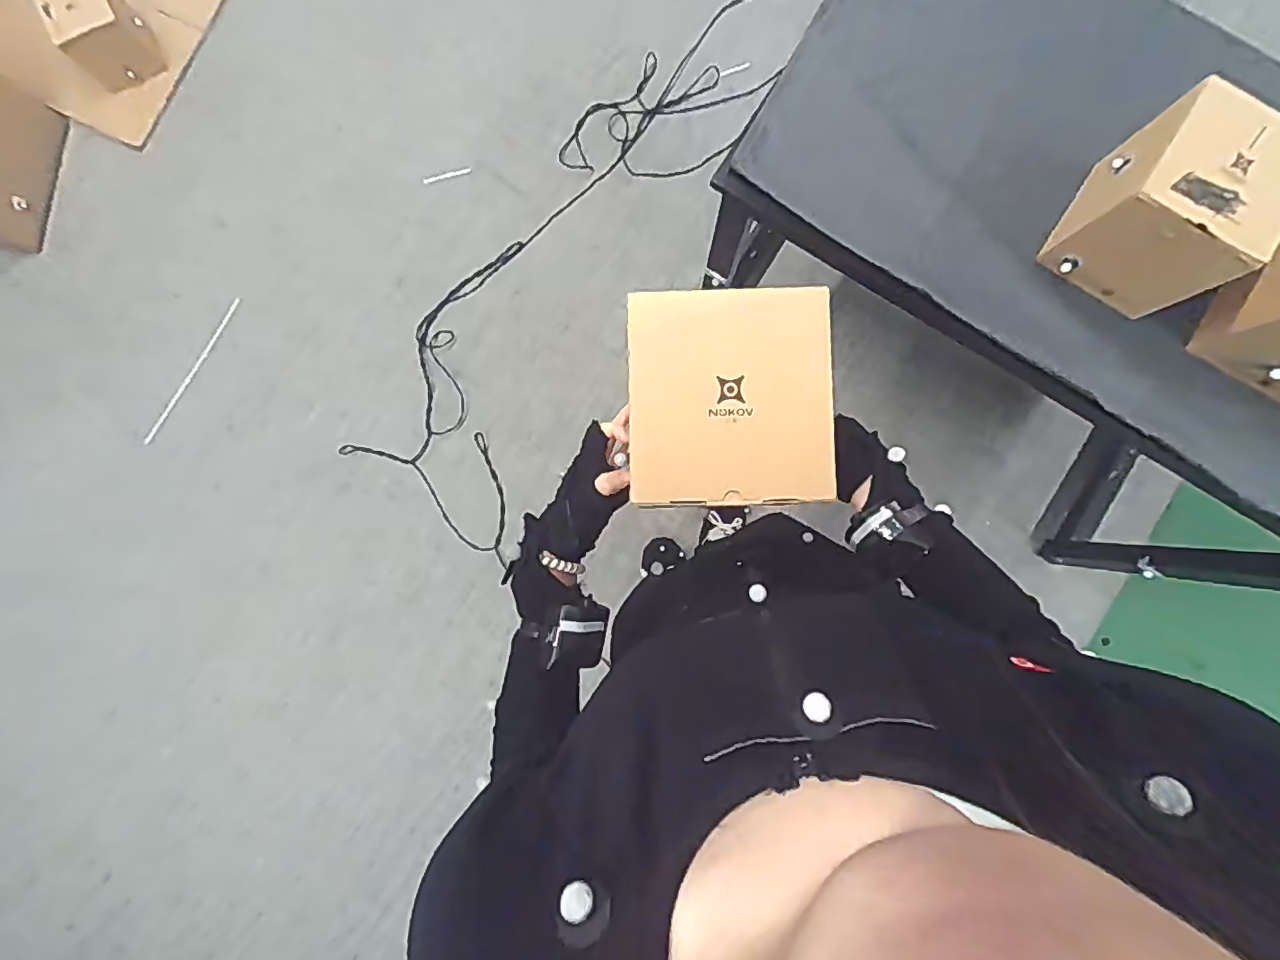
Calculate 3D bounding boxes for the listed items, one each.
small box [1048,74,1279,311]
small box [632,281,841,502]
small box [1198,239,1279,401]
[{"bbox_3d":[0.685,-0.352,0.700,0.168,0.176,0.179,33,86,2],"label":"small box"},{"bbox_3d":[0.076,-0.069,0.510,0.168,0.176,0.179,-1,88,0],"label":"small box"},{"bbox_3d":[0.891,-0.225,0.688,0.168,0.176,0.179,32,87,3],"label":"small box"}]
